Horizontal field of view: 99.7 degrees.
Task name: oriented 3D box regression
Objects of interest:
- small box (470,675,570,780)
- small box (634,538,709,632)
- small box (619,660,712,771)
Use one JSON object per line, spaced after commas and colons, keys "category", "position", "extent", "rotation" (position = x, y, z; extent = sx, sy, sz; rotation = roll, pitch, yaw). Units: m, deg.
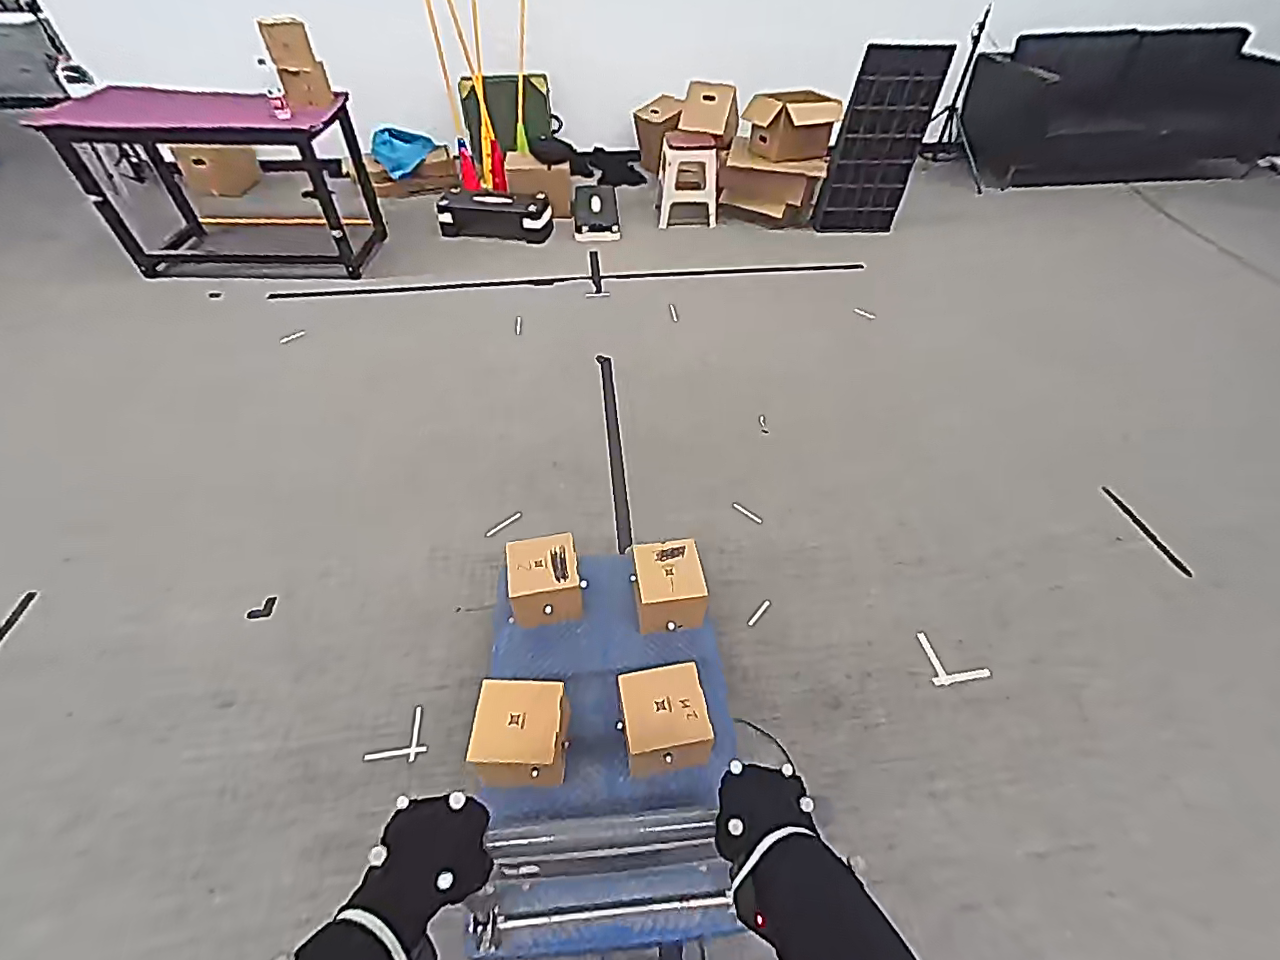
{"category": "small box", "position": [-0.252, 0.543, 1.181], "extent": [0.179, 0.176, 0.168], "rotation": [2, 47, -1]}
{"category": "small box", "position": [0.076, 0.278, 1.430], "extent": [0.168, 0.176, 0.179], "rotation": [-5, 49, -6]}
{"category": "small box", "position": [0.052, 0.526, 1.201], "extent": [0.179, 0.176, 0.168], "rotation": [-7, 48, -7]}
